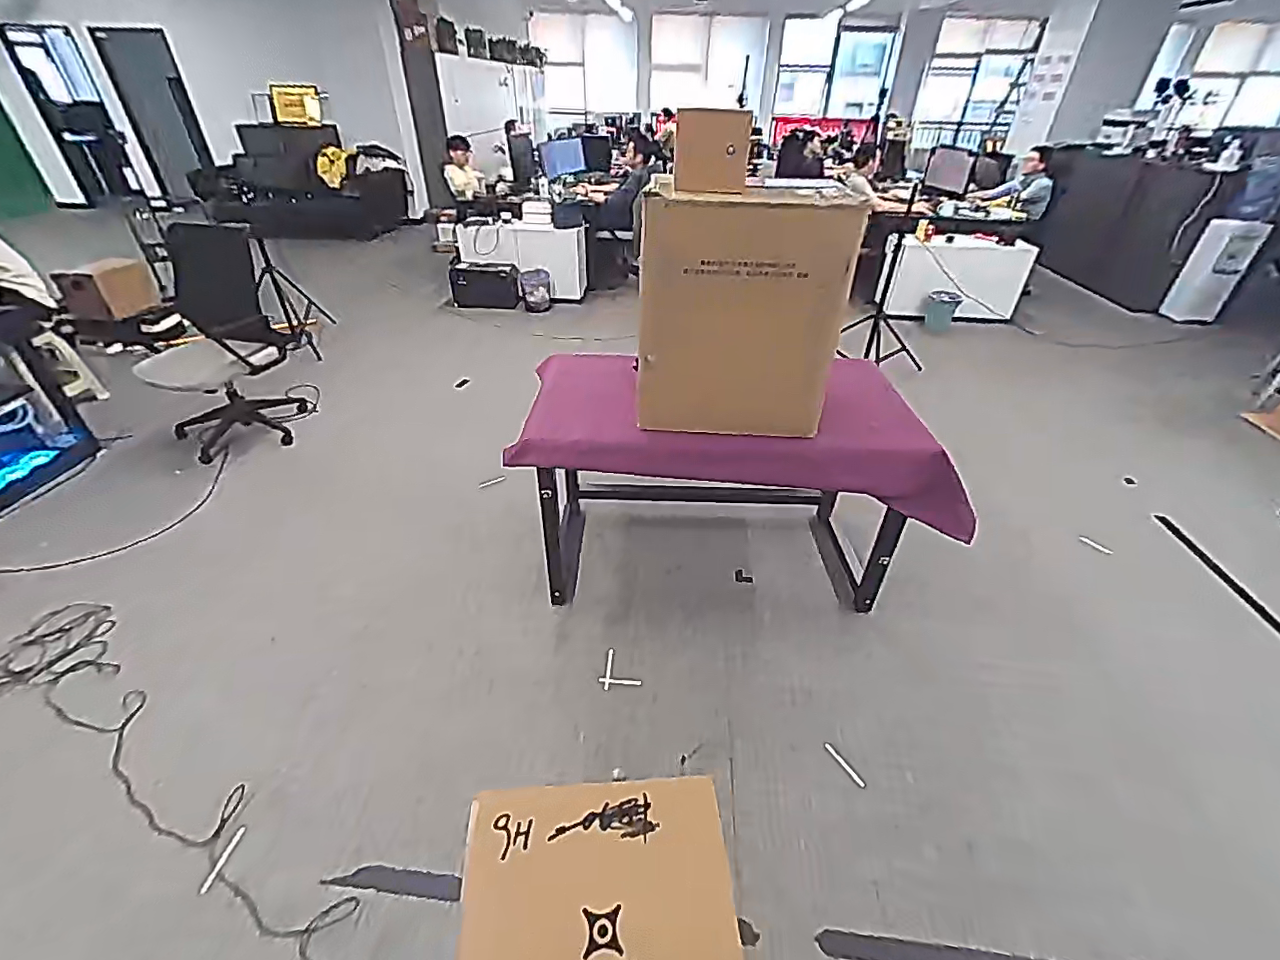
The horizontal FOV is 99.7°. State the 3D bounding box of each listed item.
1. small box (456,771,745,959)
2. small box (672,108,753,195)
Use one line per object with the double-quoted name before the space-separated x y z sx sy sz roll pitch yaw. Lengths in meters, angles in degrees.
"small box" -0.029 0.318 0.367 0.168 0.176 0.179 1 47 -8
"small box" 0.170 -0.802 1.323 0.179 0.176 0.168 2 35 2
